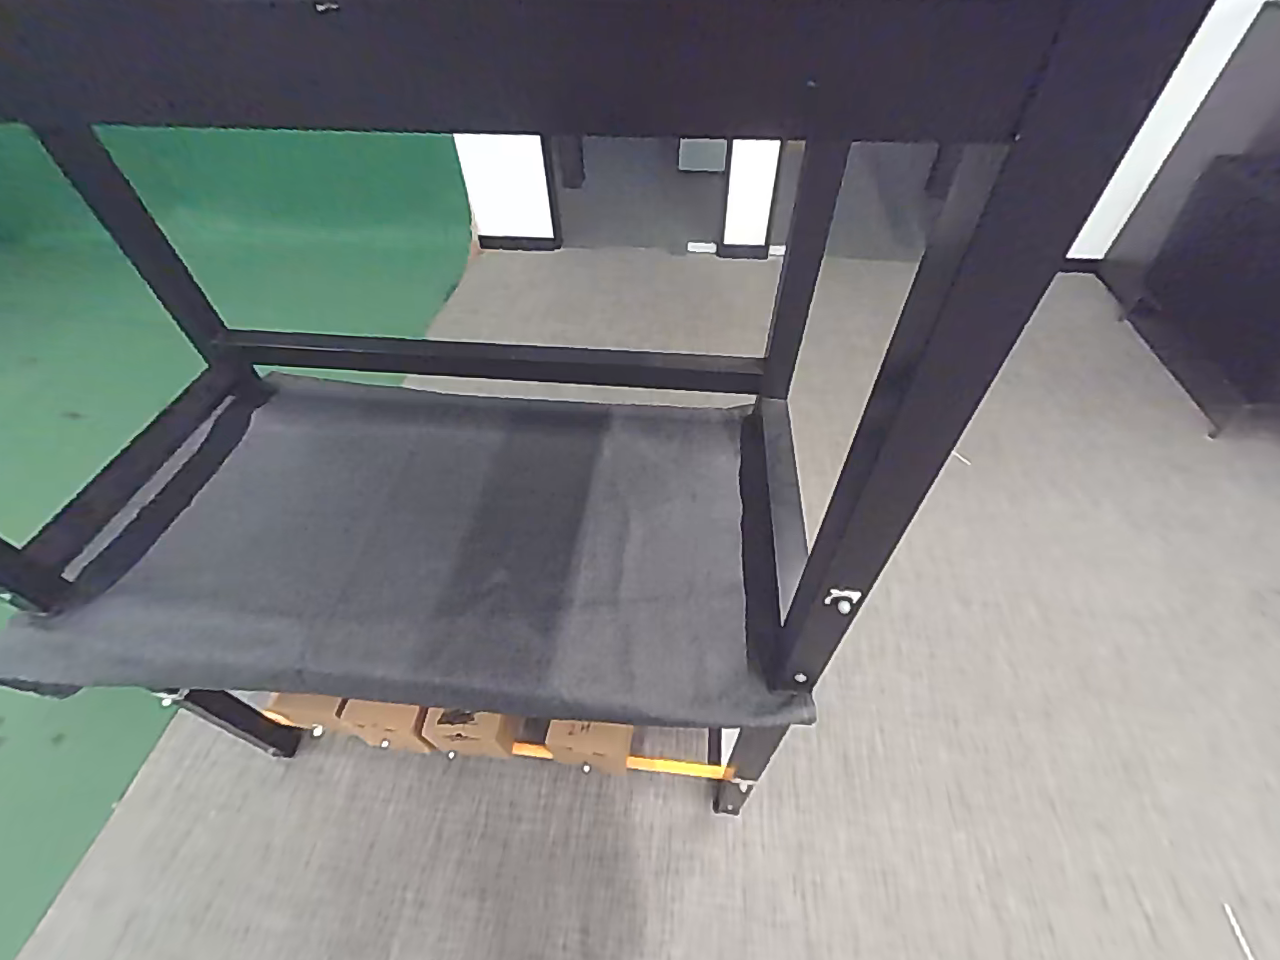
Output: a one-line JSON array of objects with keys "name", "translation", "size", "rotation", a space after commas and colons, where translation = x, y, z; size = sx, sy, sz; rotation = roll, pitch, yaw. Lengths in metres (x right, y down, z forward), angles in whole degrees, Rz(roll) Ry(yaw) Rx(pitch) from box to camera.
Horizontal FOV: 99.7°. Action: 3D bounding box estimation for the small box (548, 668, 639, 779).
[{"name": "small box", "translation": [-0.099, 0.563, 1.248], "size": [0.168, 0.176, 0.179], "rotation": [7, 51, 9]}]
